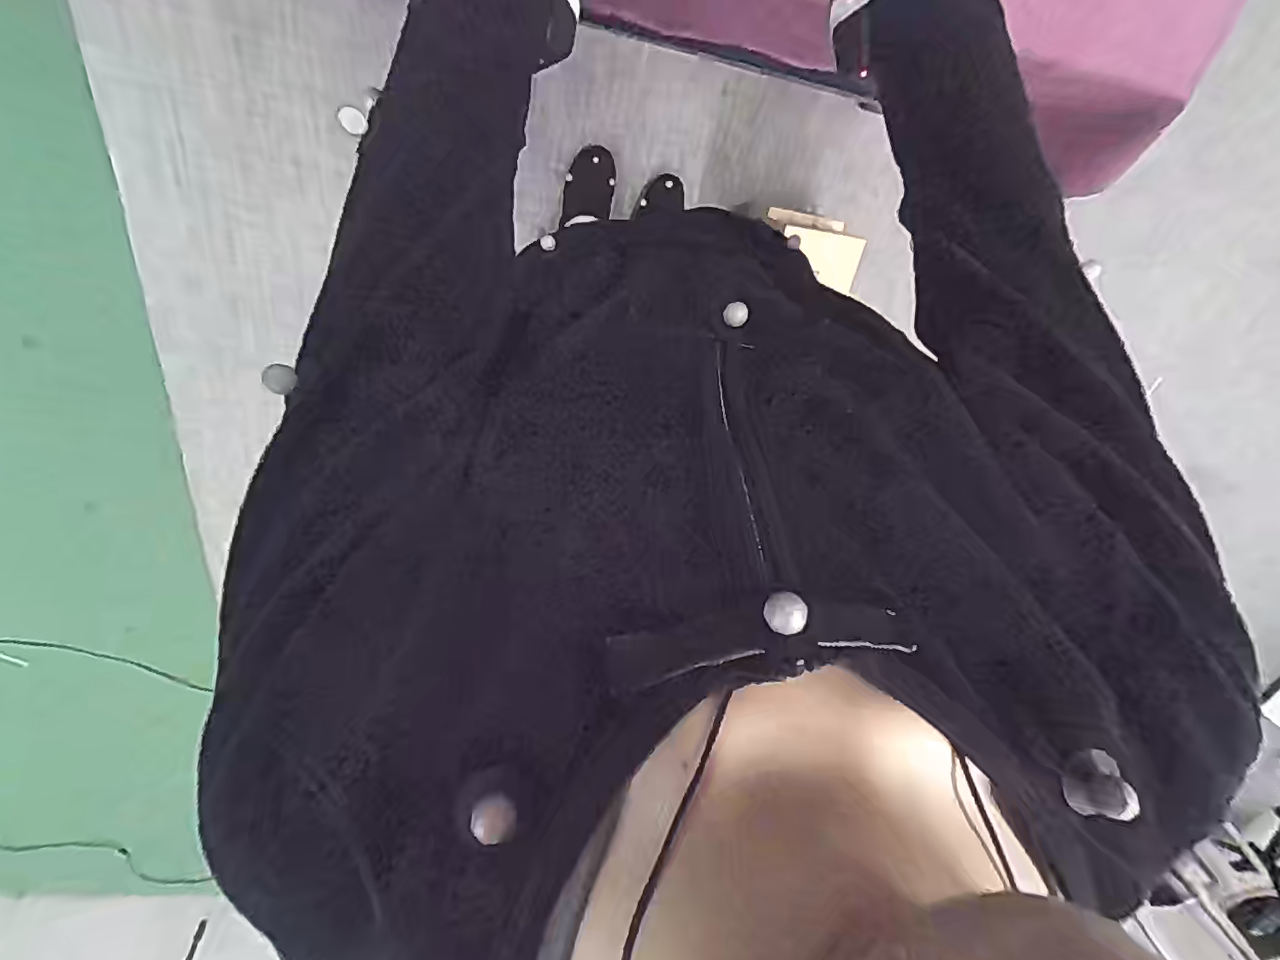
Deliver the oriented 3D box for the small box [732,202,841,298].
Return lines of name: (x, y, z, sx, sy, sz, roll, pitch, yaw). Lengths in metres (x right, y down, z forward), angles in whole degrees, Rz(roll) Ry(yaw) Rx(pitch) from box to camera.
small box: (0.332, -0.543, 1.266, 0.179, 0.176, 0.168, 7, 121, -9)

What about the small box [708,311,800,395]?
small box: (0.283, -0.331, 1.393, 0.179, 0.176, 0.168, 3, 120, -8)
